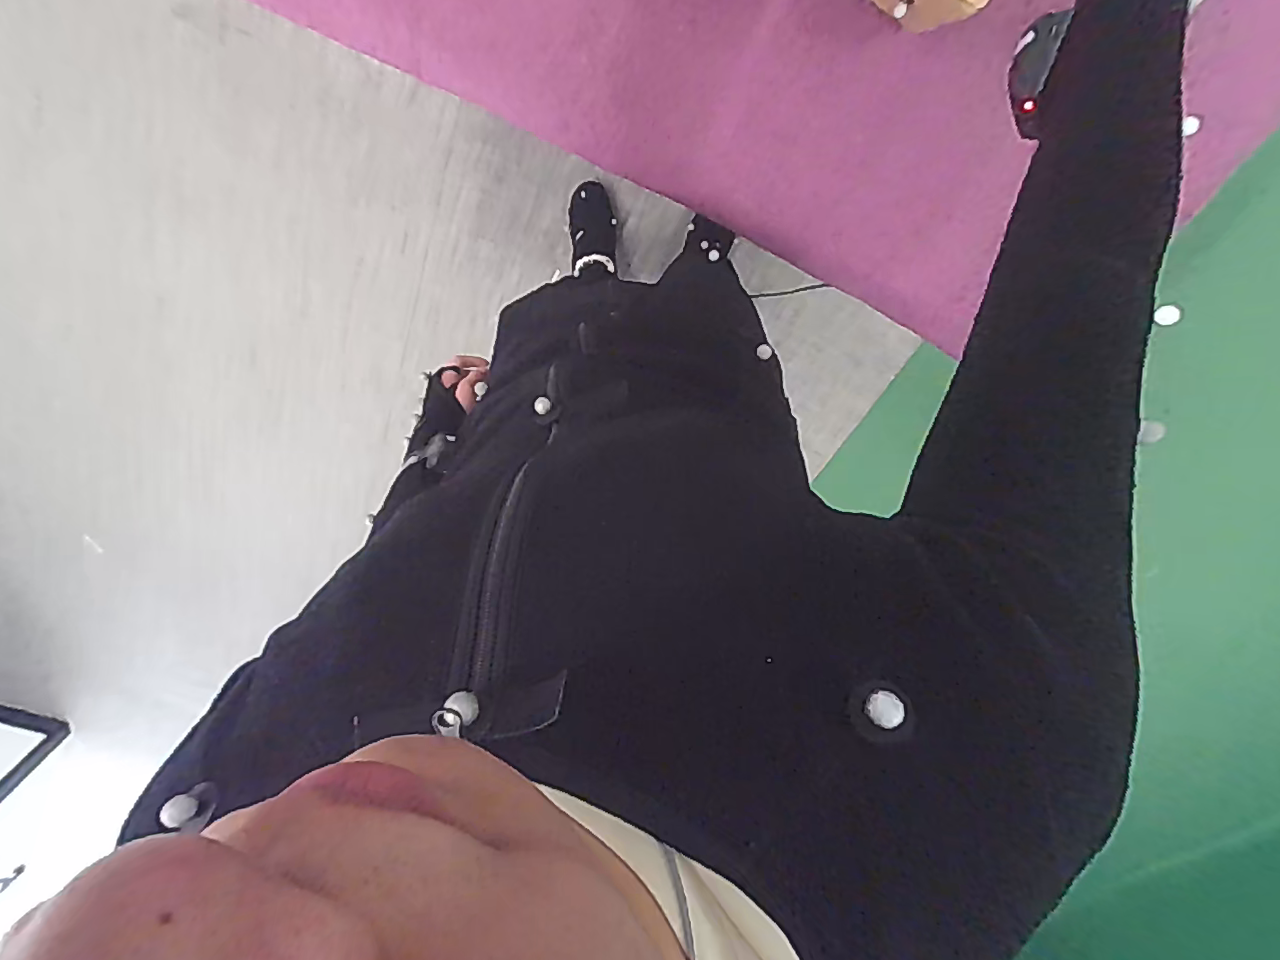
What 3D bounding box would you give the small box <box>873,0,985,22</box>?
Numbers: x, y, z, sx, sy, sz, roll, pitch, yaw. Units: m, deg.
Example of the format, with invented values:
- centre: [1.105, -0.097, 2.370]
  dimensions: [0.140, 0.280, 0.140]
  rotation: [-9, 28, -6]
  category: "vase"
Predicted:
- centre: [0.256, -0.535, 0.463]
  dimensions: [0.179, 0.176, 0.168]
  rotation: [27, 124, -10]
  category: "small box"
